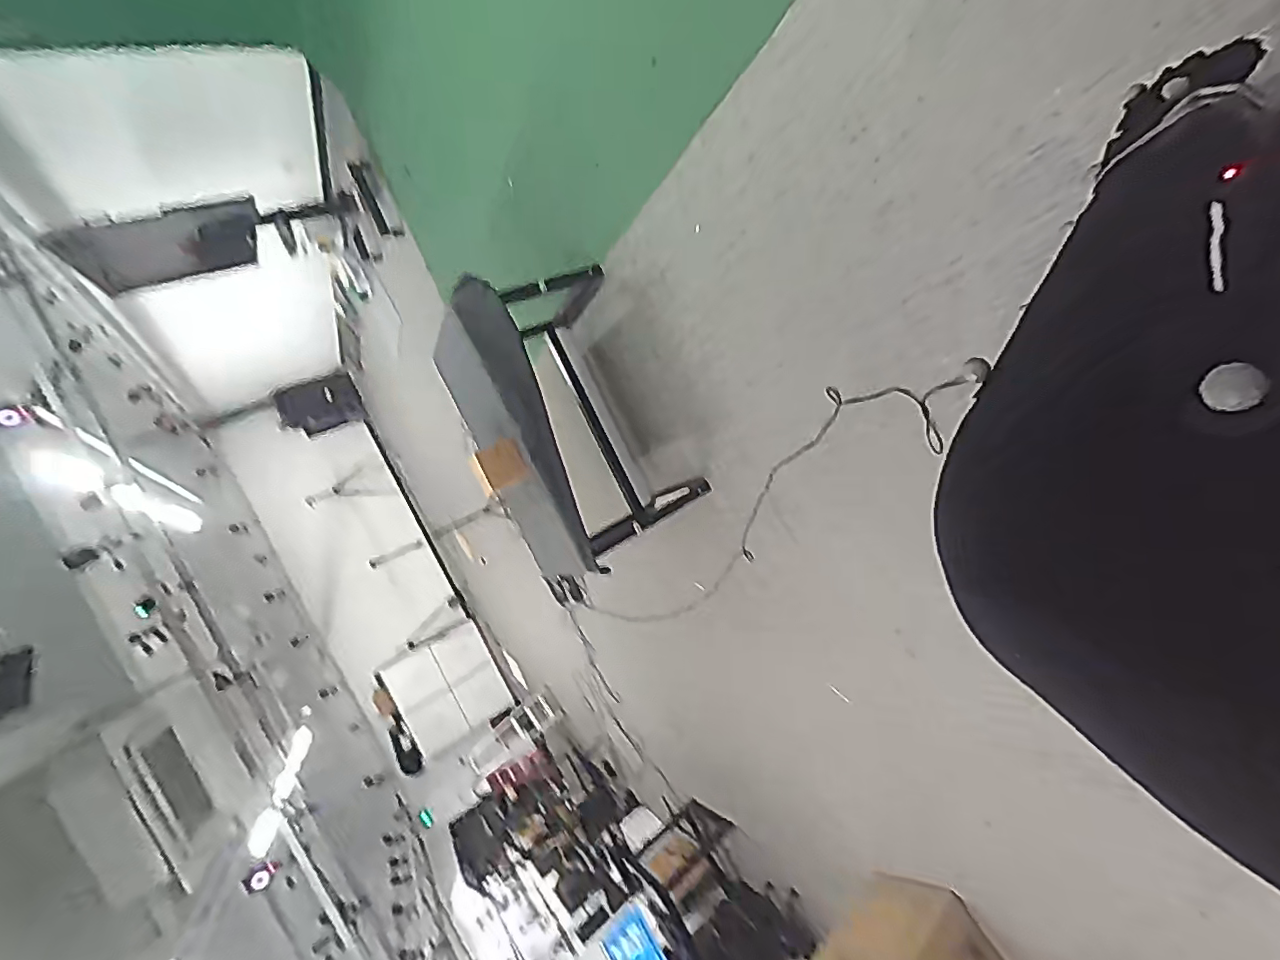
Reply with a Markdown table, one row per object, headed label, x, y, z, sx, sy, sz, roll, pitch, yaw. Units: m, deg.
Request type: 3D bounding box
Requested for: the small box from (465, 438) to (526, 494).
| label | x | y | z | sx | sy | sz | roll | pitch | yaw |
| --- | --- | --- | --- | --- | --- | --- | --- | --- | --- |
| small box | -0.603 | -0.063 | 2.252 | 0.179 | 0.176 | 0.168 | 62 | 153 | -2 |
